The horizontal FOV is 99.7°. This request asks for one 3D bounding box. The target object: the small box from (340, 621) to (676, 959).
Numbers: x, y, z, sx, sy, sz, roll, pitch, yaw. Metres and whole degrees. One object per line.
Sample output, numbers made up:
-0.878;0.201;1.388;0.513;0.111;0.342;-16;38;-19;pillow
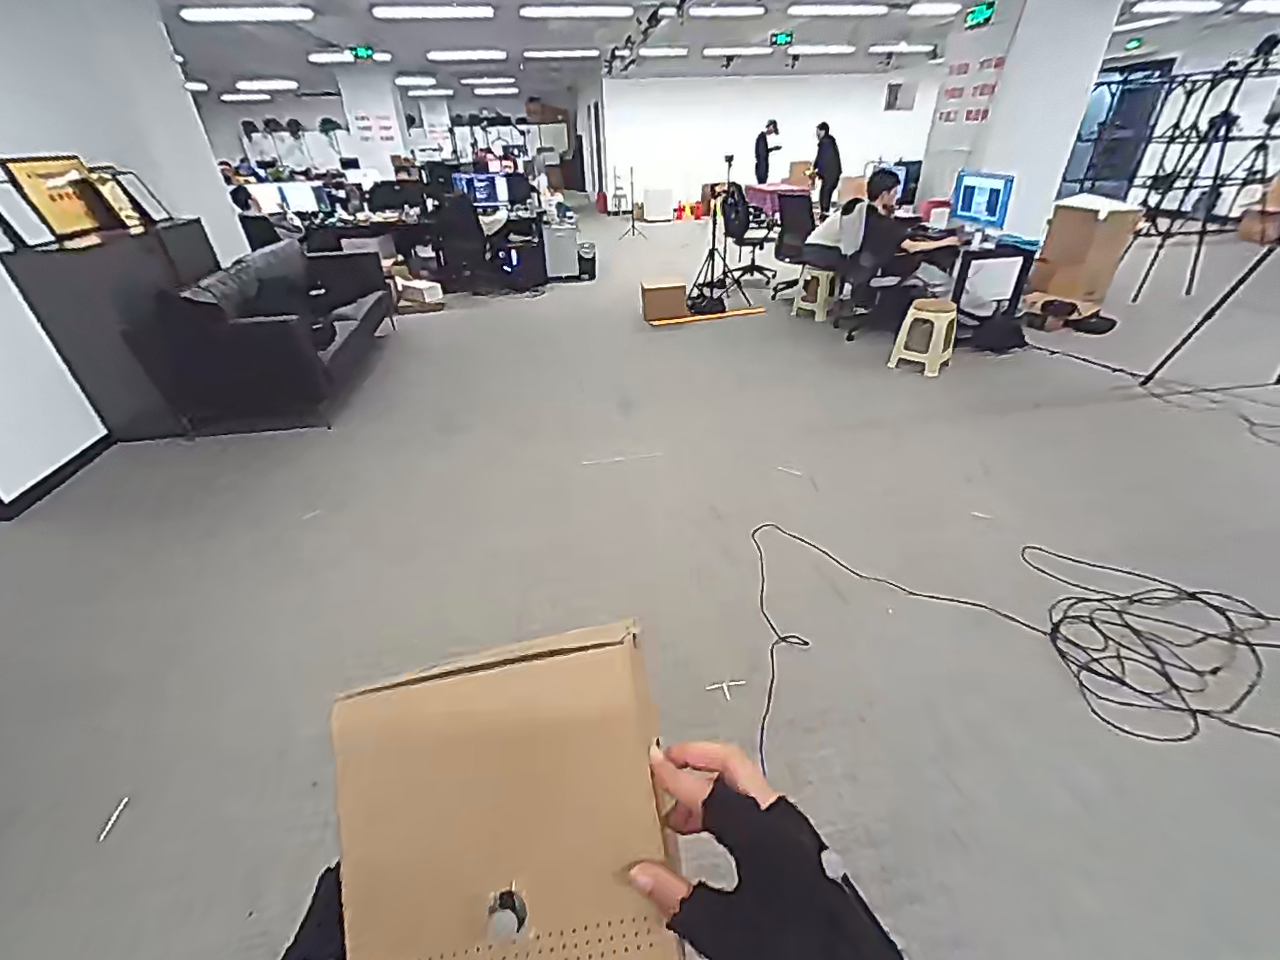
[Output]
-0.073;0.206;0.379;0.179;0.176;0.168;-12;-12;1;small box
